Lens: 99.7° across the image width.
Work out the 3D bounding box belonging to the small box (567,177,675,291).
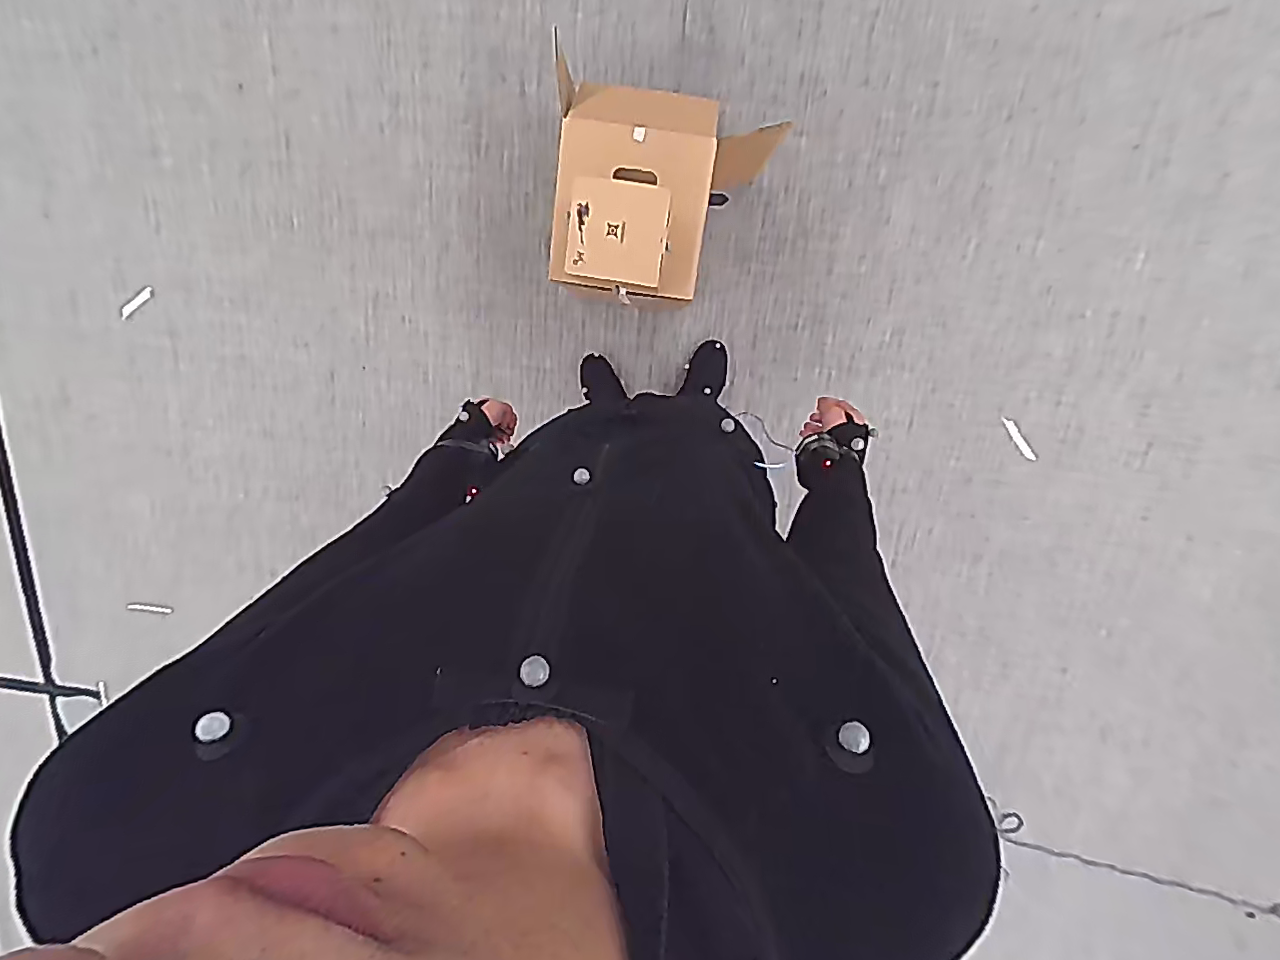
[{"bbox_3d":[-0.033,-0.464,1.044,0.179,0.176,0.168,10,107,0],"label":"small box"}]
